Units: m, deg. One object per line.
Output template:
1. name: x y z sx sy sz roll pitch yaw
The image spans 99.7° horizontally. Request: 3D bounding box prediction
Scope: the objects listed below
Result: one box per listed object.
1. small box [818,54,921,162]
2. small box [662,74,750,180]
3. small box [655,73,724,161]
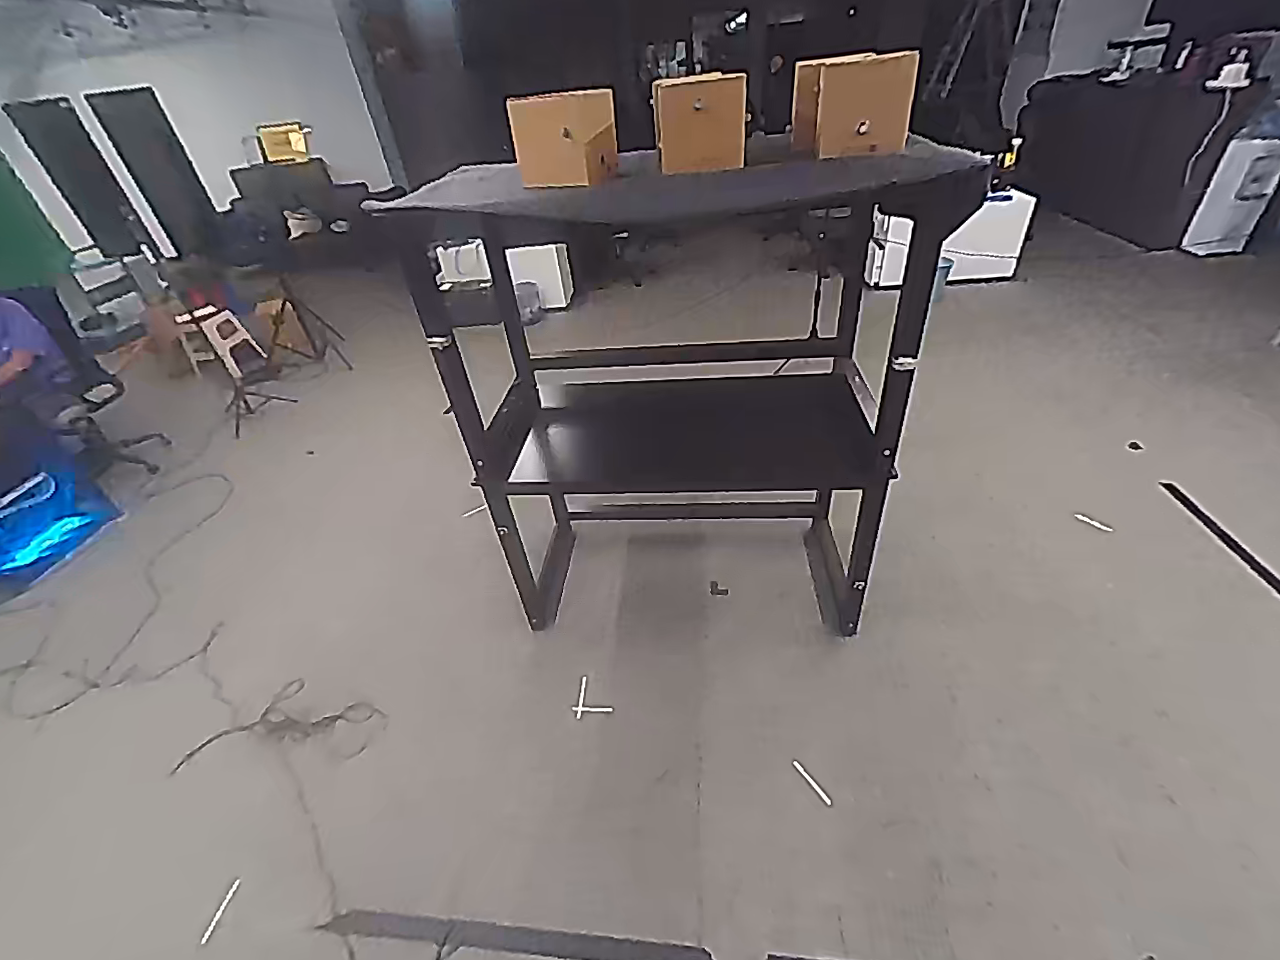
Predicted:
1. small box: 0.465 -0.769 1.124 0.168 0.176 0.179 3 38 14
2. small box: 0.145 -0.768 1.178 0.179 0.176 0.168 -2 38 8
3. small box: 0.132 -0.922 1.377 0.168 0.176 0.179 -2 38 8
